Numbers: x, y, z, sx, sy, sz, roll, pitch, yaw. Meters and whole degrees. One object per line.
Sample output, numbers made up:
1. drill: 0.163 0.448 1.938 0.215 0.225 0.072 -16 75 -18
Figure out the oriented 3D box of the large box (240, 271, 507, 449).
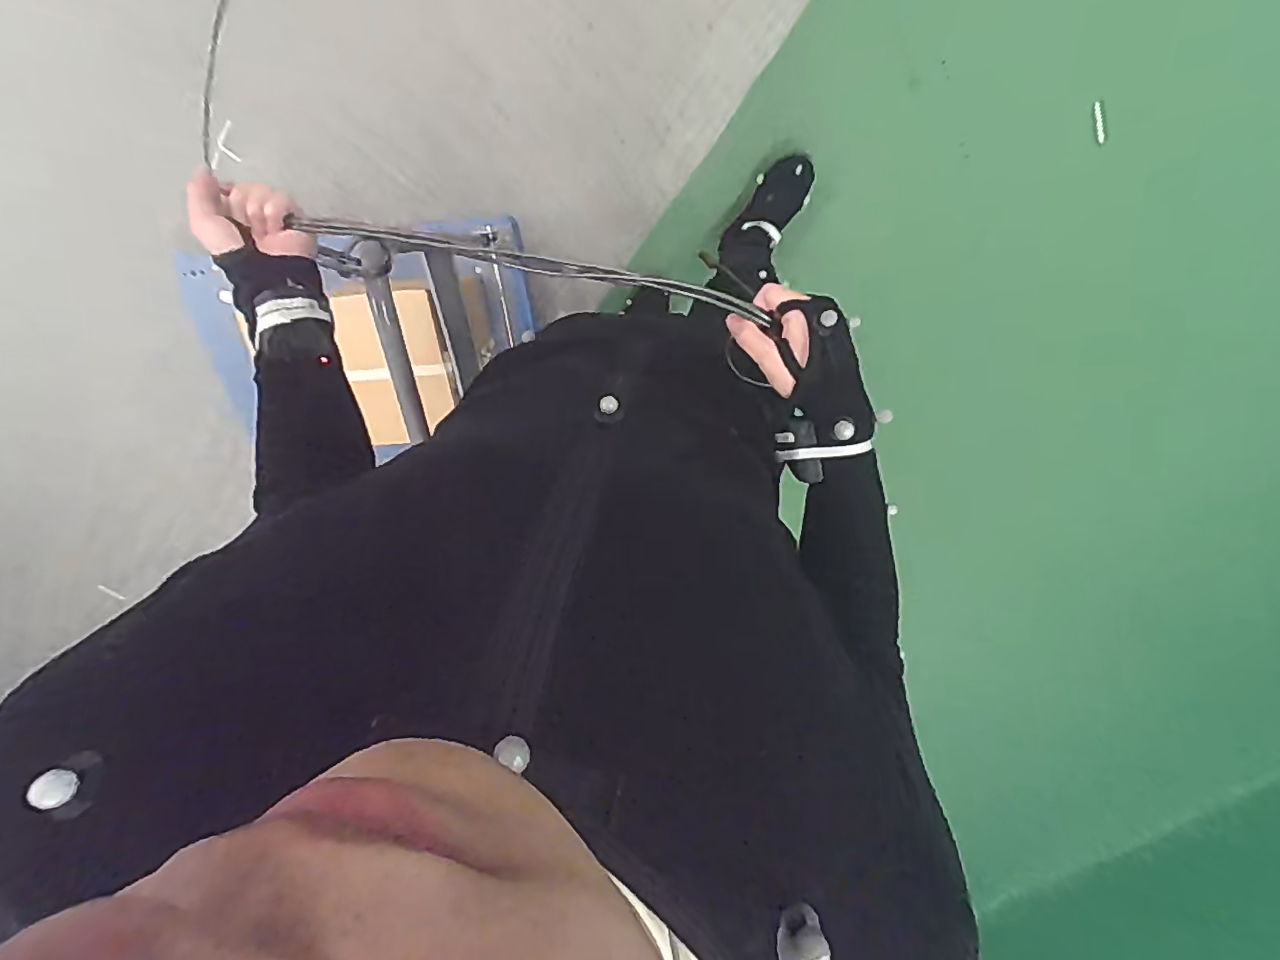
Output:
1. large box: -0.568 -0.284 1.241 0.408 0.320 0.320 -3 115 7
